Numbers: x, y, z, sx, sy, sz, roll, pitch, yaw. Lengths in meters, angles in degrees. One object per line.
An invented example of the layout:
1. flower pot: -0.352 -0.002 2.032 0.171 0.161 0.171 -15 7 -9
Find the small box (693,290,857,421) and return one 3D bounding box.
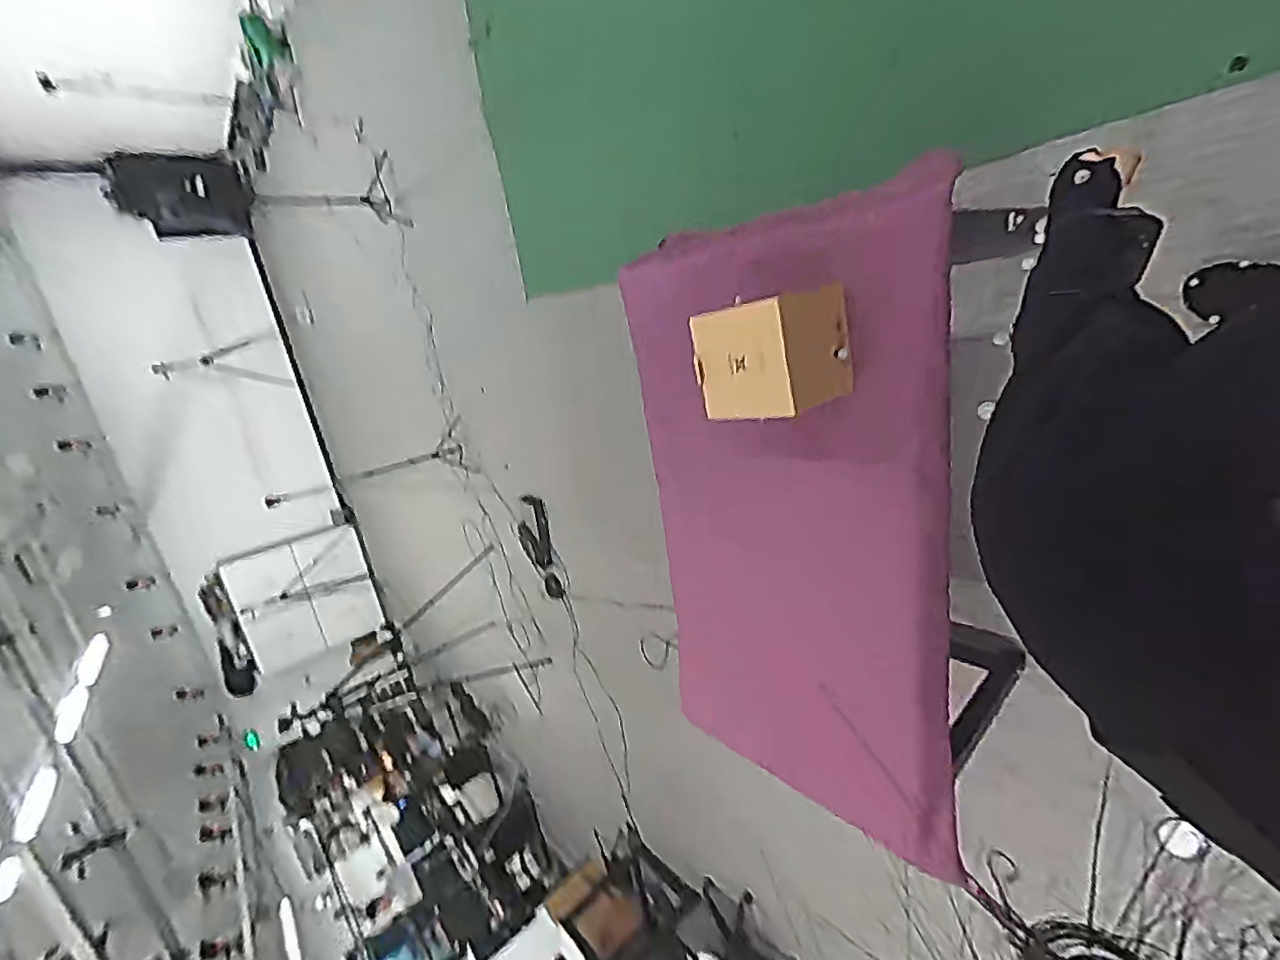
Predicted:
1. small box: 0.214 -0.193 0.856 0.179 0.176 0.168 6 113 52
